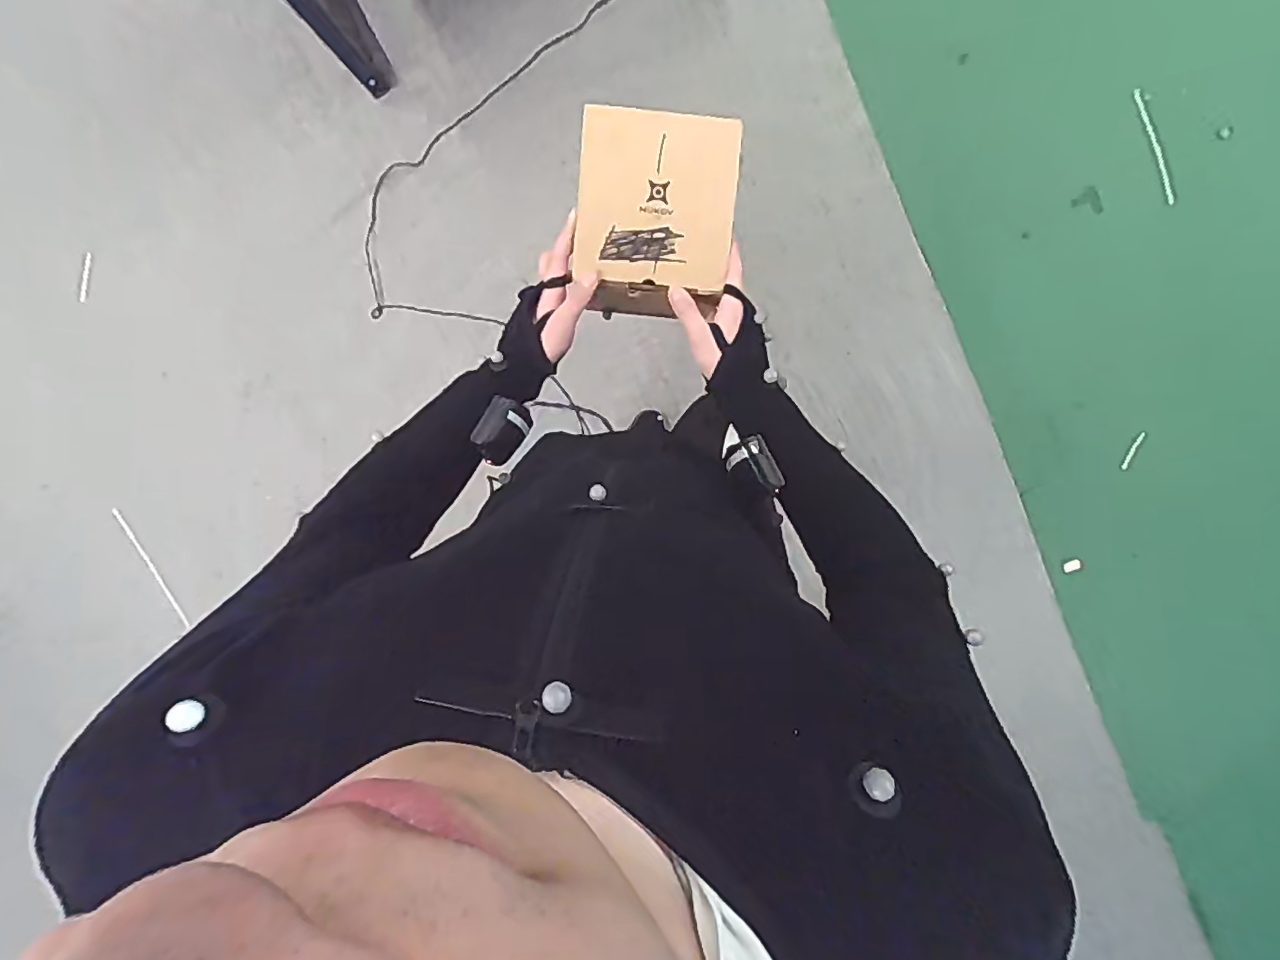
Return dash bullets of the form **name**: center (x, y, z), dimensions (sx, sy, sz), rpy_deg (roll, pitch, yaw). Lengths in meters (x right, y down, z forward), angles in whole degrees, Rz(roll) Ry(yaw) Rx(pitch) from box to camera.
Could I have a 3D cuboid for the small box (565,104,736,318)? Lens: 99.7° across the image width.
- **small box**: center (0.008, -0.296, 0.636), dimensions (0.168, 0.176, 0.179), rpy_deg (4, 95, -2)
